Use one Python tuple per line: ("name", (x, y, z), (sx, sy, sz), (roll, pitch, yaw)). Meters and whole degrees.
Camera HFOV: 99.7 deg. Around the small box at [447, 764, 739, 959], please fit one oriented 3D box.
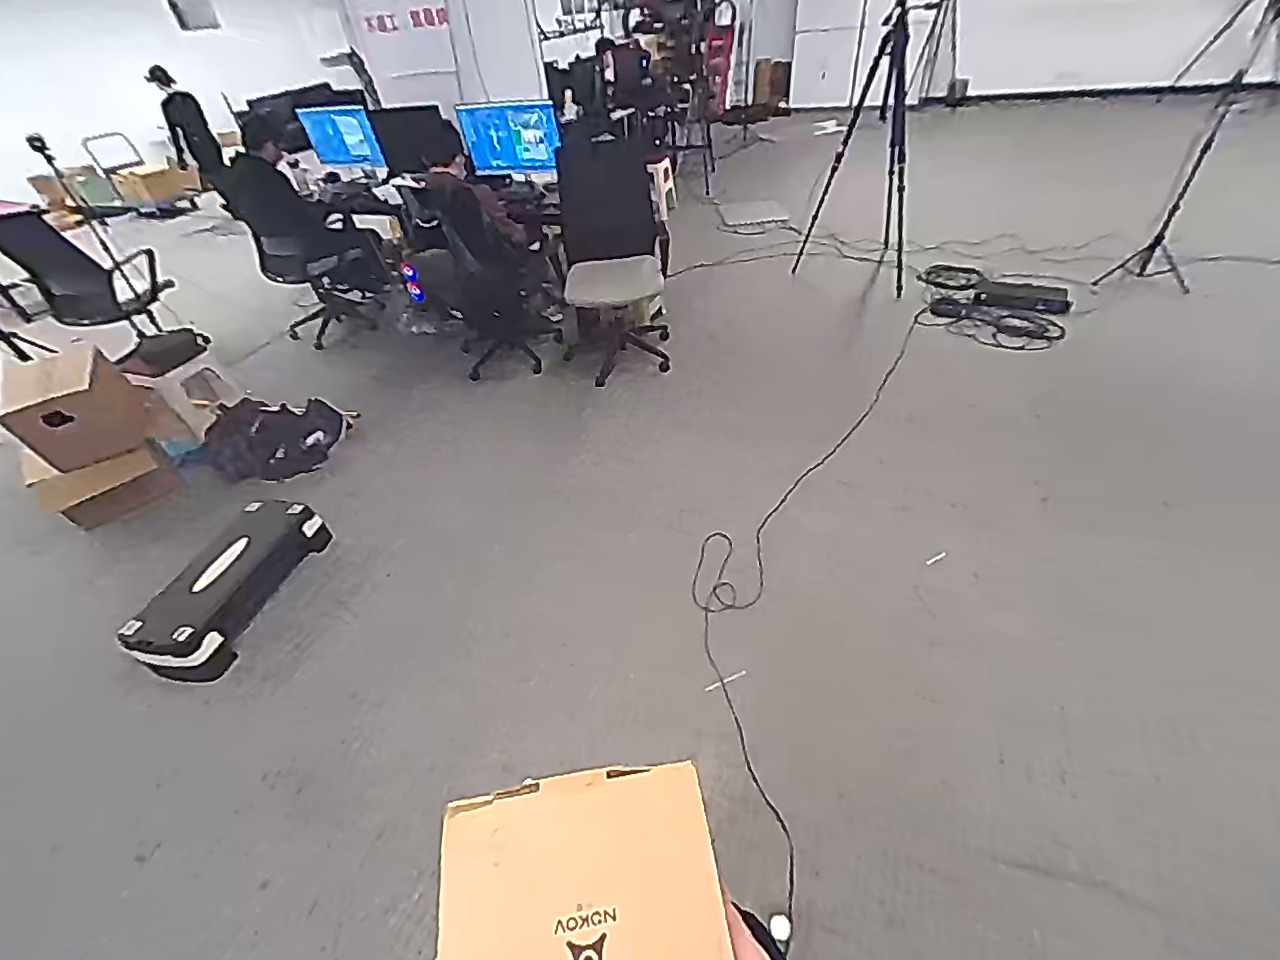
("small box", (-0.031, 0.315, 0.370), (0.168, 0.176, 0.179), (-5, 55, -8))
